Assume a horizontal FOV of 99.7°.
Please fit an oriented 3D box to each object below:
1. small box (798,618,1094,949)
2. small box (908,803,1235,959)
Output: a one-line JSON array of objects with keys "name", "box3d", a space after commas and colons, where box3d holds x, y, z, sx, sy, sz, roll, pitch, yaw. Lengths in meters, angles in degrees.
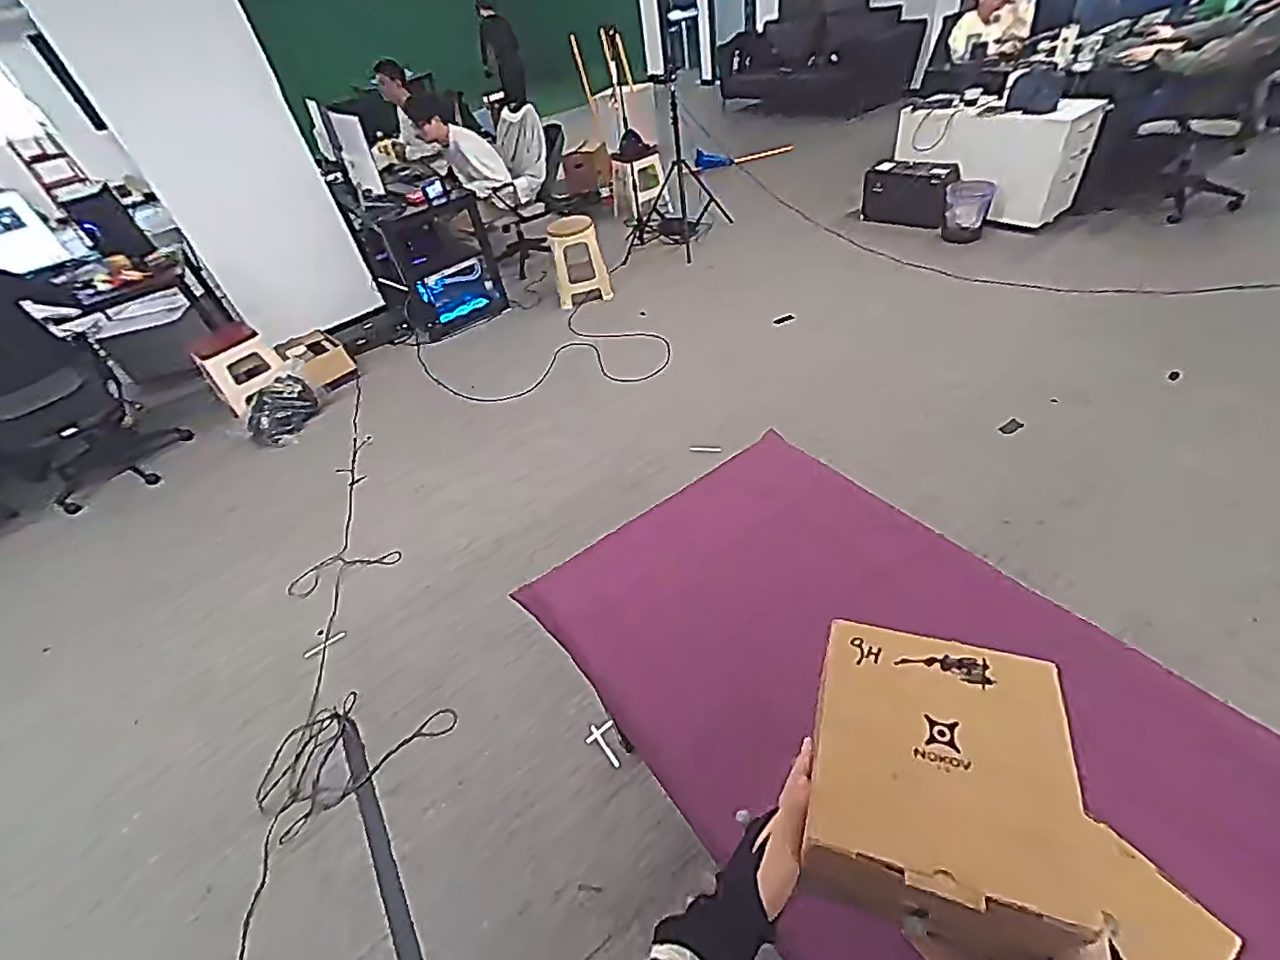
[{"name": "small box", "box3d": [0.226, 0.246, 0.445, 0.168, 0.176, 0.179, 8, 48, 19]}, {"name": "small box", "box3d": [0.385, 0.429, 0.519, 0.179, 0.176, 0.168, -31, 46, -20]}]
